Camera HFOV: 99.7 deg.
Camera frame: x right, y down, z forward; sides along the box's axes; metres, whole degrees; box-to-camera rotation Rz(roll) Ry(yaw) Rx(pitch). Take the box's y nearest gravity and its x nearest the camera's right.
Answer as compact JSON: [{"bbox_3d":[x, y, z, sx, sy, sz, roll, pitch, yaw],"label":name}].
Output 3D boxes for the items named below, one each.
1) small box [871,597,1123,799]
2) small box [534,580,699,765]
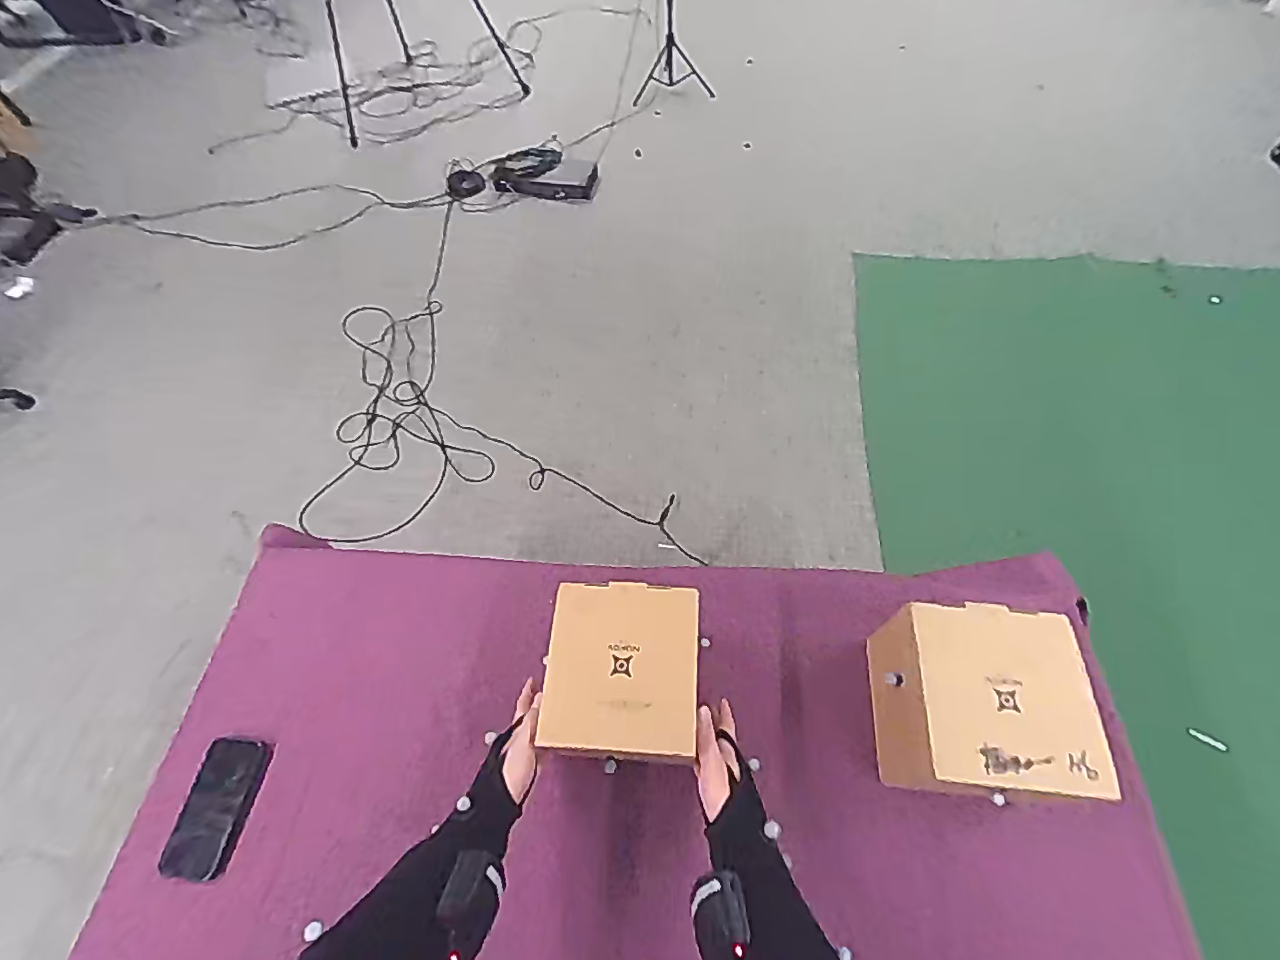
[{"bbox_3d":[0.372,0.248,0.608,0.168,0.176,0.179,2,59,8],"label":"small box"},{"bbox_3d":[-0.015,0.235,0.652,0.168,0.176,0.179,1,60,7],"label":"small box"}]
